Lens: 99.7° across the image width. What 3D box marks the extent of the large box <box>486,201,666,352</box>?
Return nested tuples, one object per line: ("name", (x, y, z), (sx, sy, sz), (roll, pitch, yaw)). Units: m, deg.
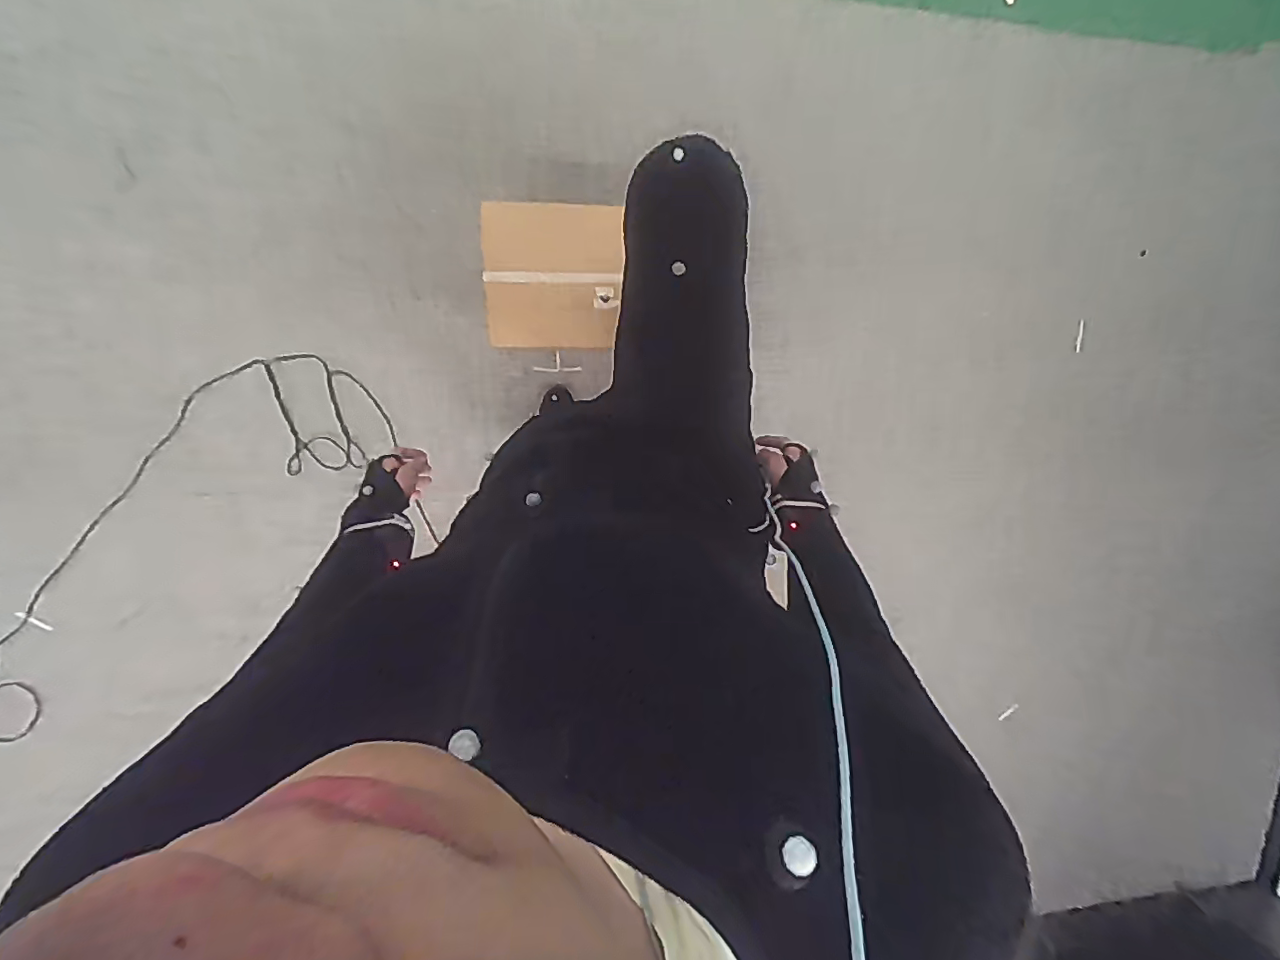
("large box", (-0.164, -0.501, 1.389), (0.408, 0.320, 0.320), (-3, 102, -10))
